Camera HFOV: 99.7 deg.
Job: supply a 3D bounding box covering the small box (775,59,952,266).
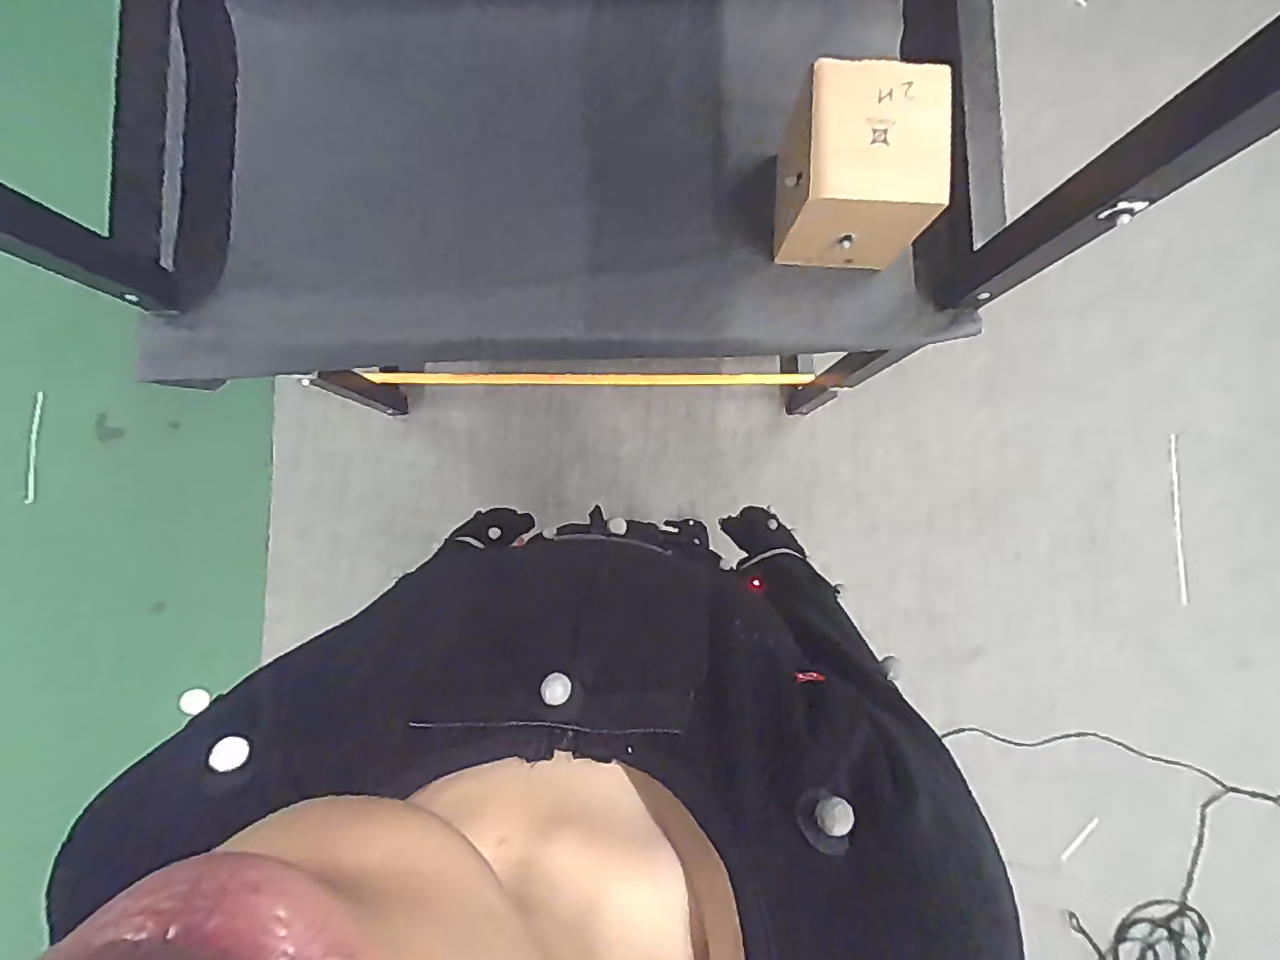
[{"bbox_3d":[0.283,-0.404,0.717,0.168,0.176,0.179,3,86,-1],"label":"small box"}]
